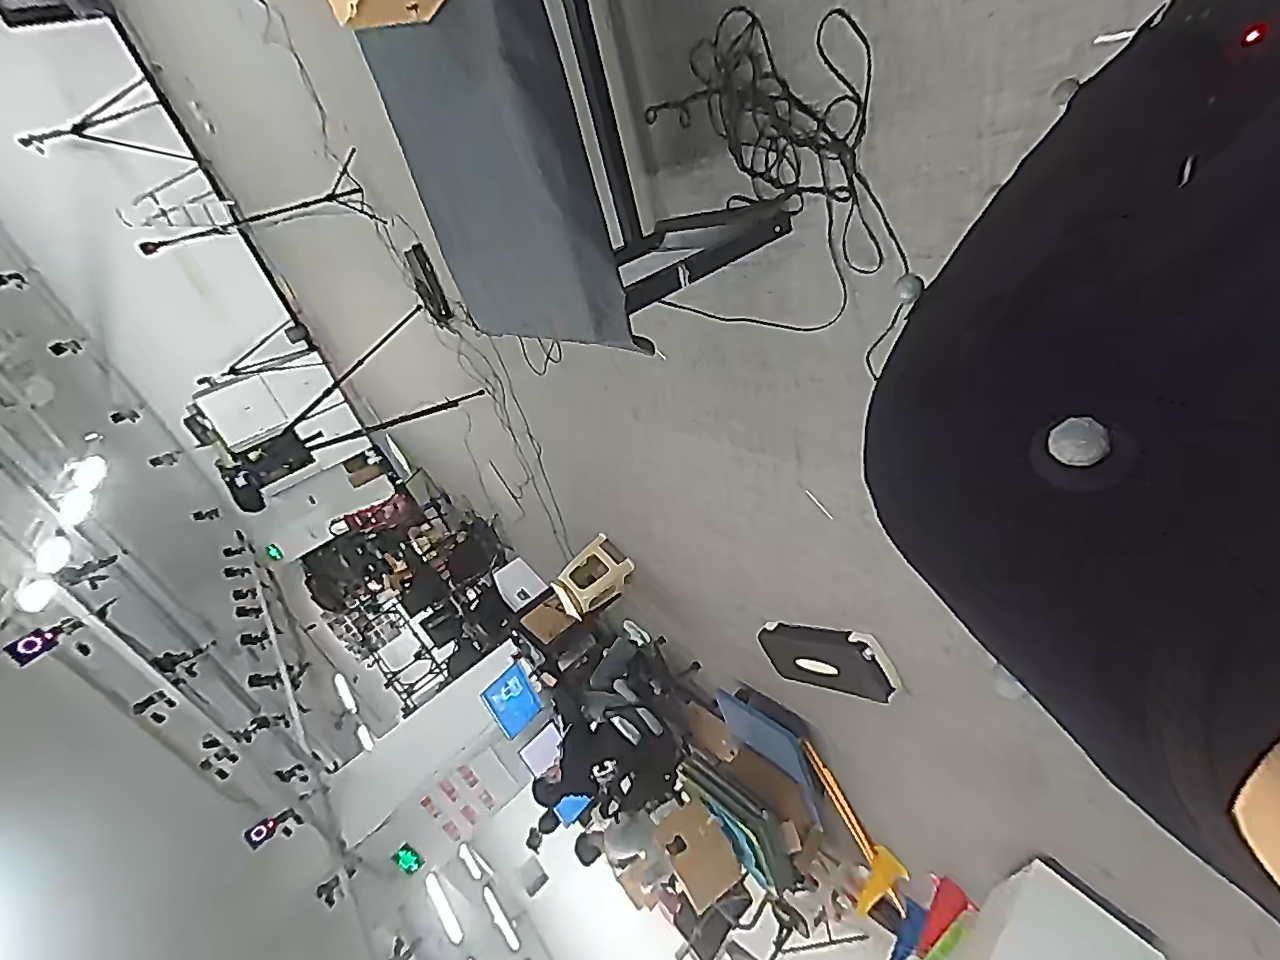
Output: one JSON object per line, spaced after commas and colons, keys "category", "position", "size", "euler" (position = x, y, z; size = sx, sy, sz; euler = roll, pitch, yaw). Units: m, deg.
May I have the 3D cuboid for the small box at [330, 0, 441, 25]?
{"category": "small box", "position": [-0.431, -0.887, 0.880], "size": [0.168, 0.176, 0.179], "euler": [19, 137, 49]}
